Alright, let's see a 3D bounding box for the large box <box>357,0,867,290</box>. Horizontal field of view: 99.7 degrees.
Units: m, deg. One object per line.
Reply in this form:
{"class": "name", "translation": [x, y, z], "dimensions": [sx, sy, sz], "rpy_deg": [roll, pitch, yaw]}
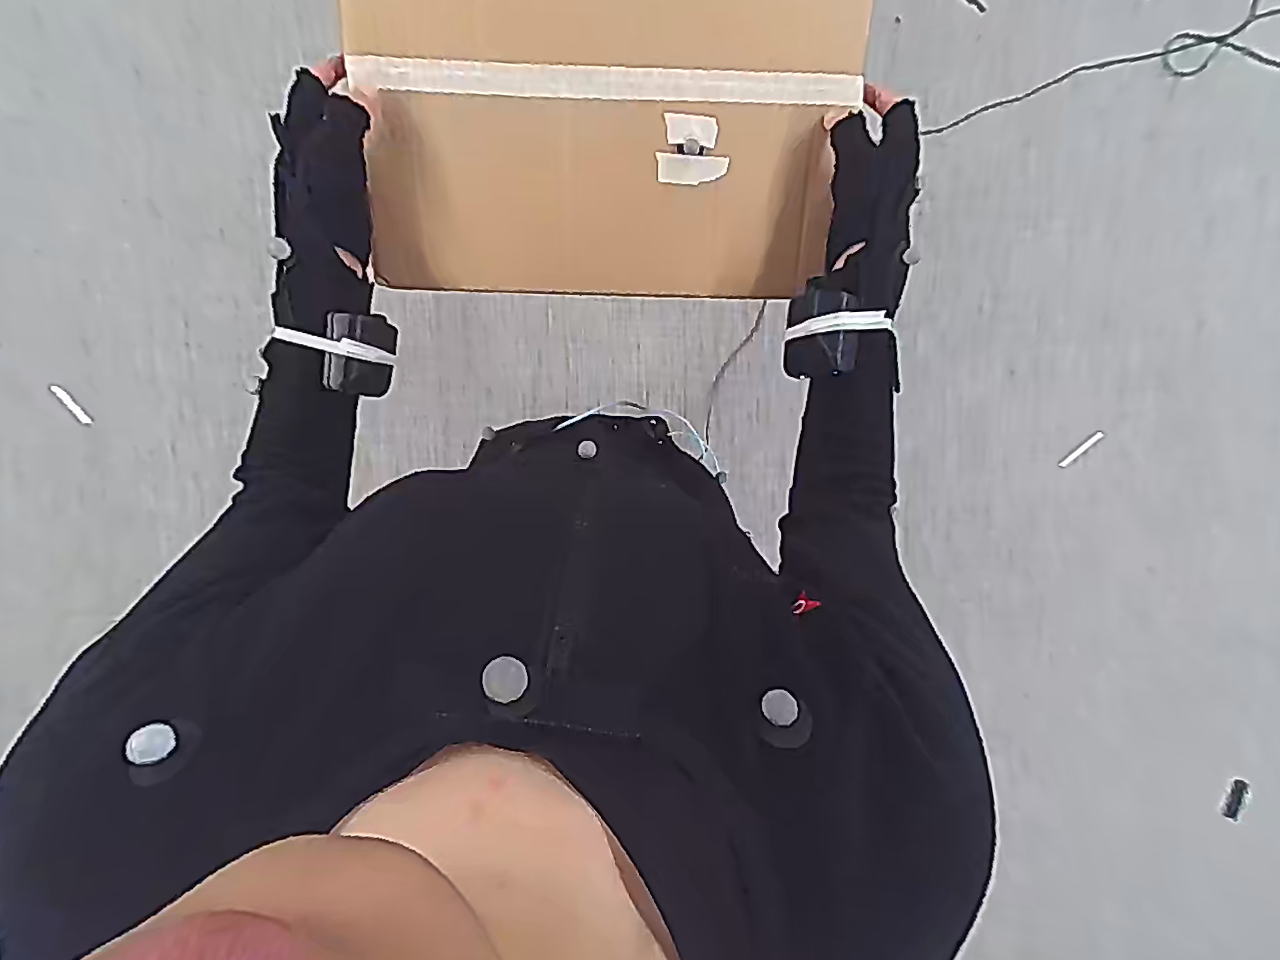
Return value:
{"class": "large box", "translation": [-0.029, -0.370, 0.577], "dimensions": [0.408, 0.320, 0.320], "rpy_deg": [1, 110, -3]}
